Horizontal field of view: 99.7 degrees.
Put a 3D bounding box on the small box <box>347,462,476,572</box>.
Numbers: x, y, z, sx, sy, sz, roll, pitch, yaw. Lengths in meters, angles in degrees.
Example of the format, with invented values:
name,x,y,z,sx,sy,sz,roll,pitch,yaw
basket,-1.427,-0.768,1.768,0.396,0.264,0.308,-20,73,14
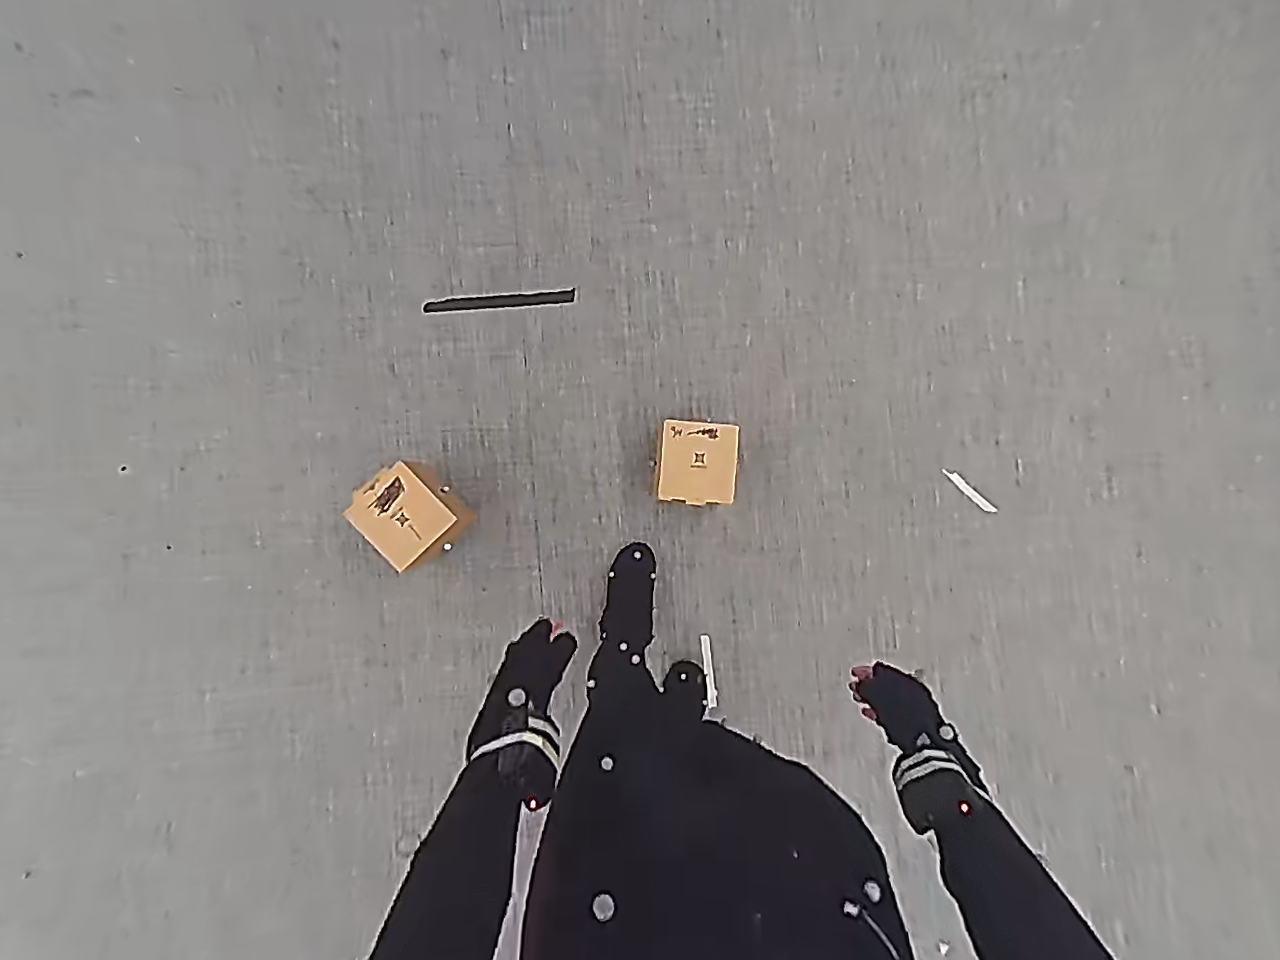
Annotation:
name,x,y,z,sx,sy,sz,roll,pitch,yaw
small box,-0.499,0.081,1.208,0.168,0.176,0.179,-43,91,-3

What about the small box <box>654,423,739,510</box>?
name,x,y,z,sx,sy,sz,roll,pitch,yaw
small box,0.123,-0.028,1.243,0.168,0.176,0.179,5,88,-3
